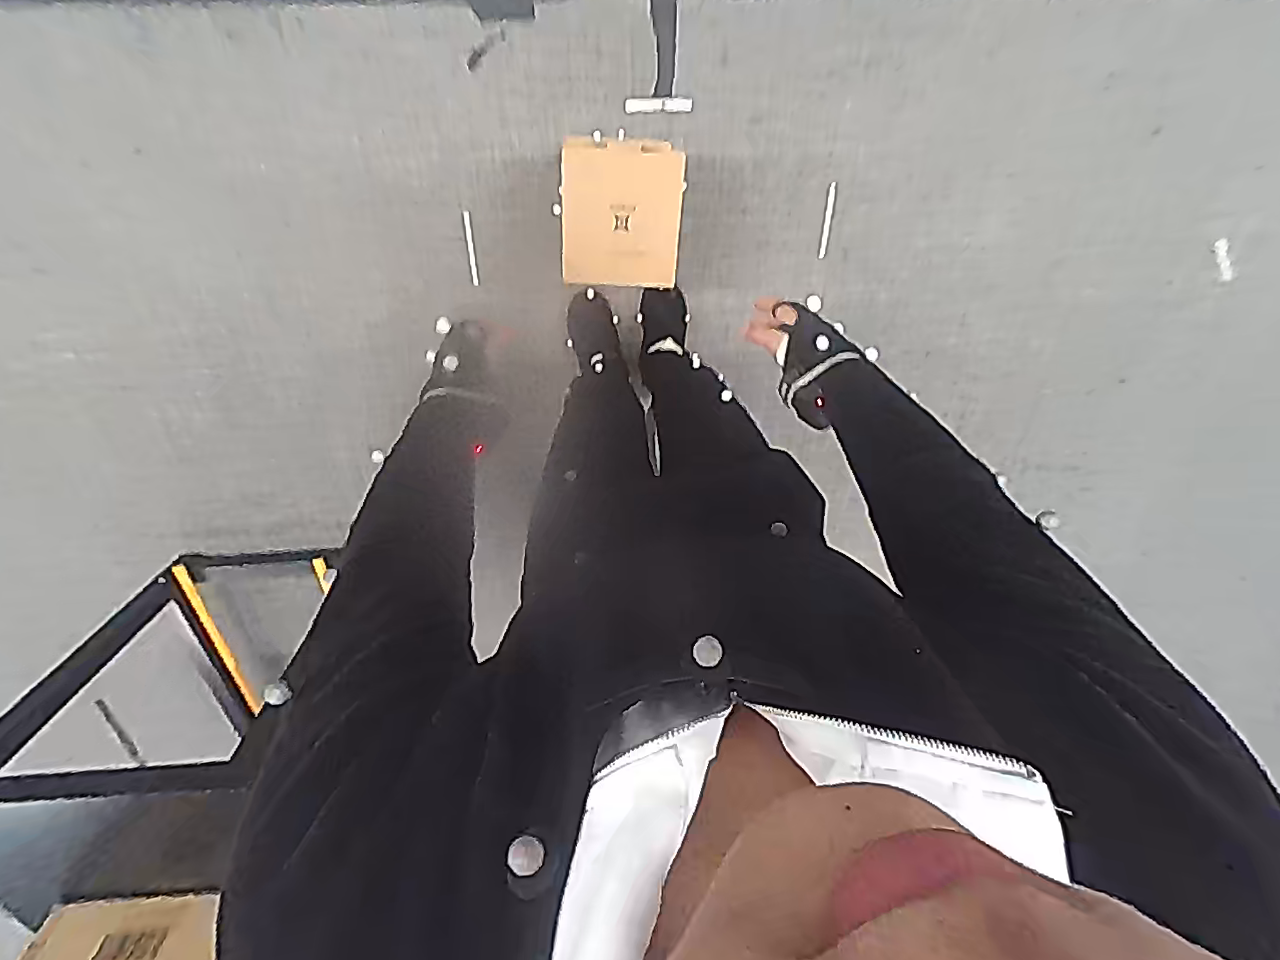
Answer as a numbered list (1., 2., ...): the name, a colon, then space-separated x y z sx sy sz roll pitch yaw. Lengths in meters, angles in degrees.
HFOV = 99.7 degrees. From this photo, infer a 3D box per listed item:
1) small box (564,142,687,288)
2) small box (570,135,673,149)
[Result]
1. small box: -0.029 -0.401 0.818 0.168 0.176 0.179 1 121 -4
2. small box: -0.041 -0.494 0.951 0.168 0.176 0.179 1 120 -5
